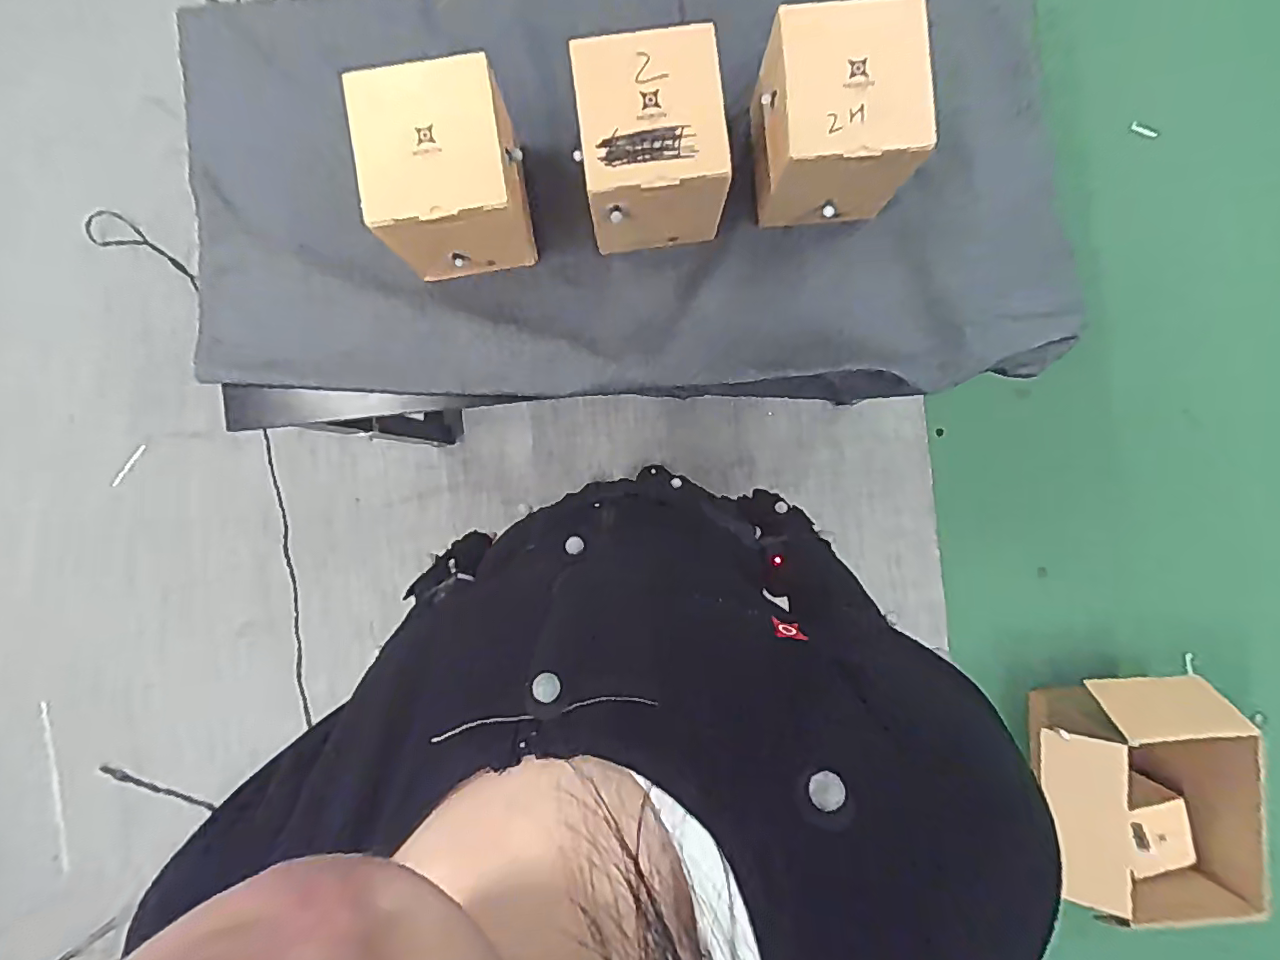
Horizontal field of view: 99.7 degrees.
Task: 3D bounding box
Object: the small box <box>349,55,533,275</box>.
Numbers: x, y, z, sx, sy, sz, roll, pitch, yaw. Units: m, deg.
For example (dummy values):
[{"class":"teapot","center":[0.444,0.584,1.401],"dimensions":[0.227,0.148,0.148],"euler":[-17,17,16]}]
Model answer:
[{"class":"small box","center":[-0.241,-0.389,0.696],"dimensions":[0.168,0.176,0.179],"euler":[-8,91,-1]}]
